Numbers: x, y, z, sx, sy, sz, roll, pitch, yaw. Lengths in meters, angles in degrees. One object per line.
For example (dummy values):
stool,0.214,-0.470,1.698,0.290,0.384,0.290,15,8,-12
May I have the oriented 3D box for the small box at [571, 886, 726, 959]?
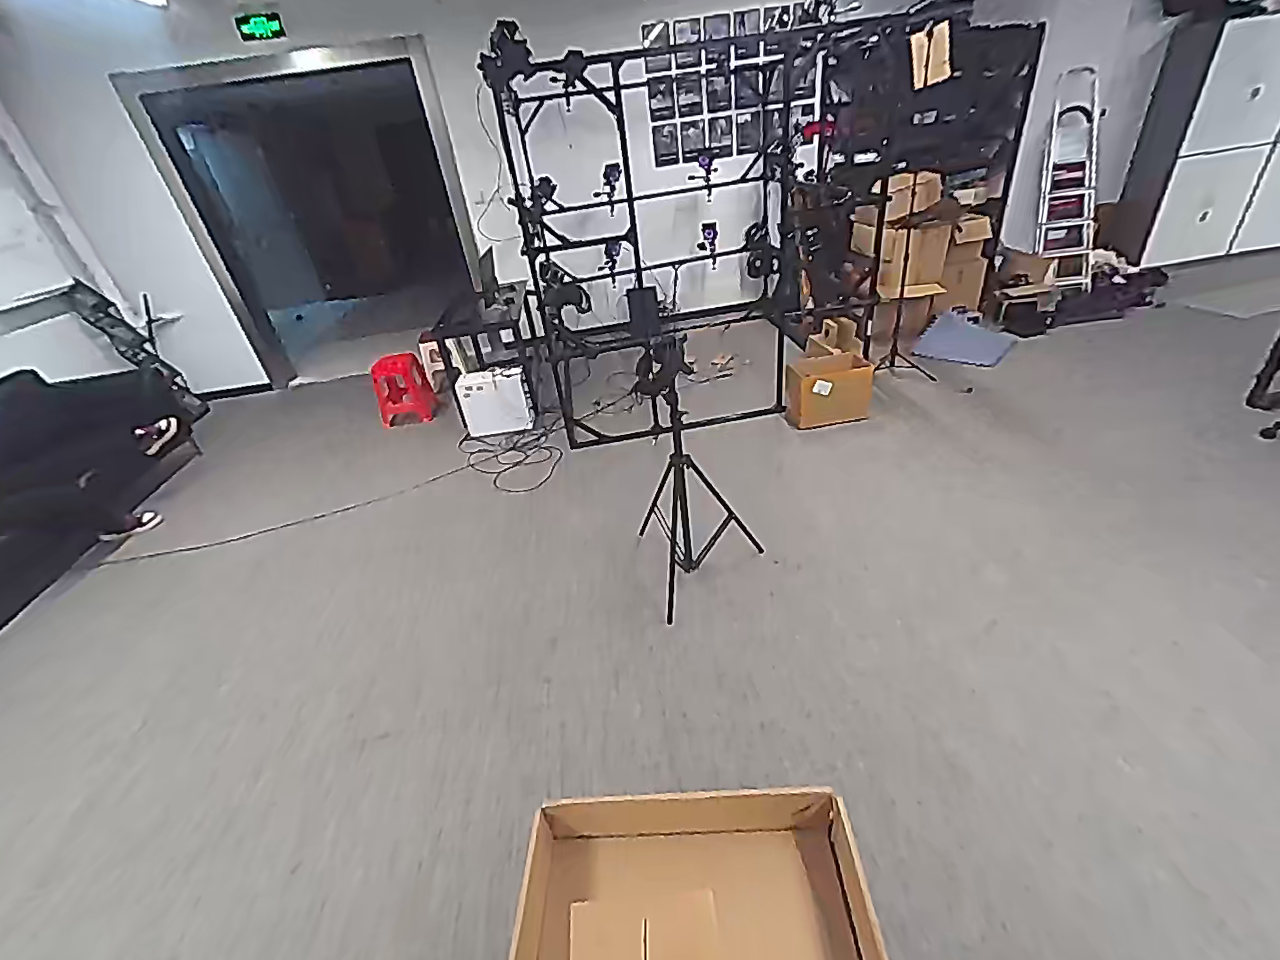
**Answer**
small box,0.016,0.579,0.594,0.168,0.176,0.179,-6,41,-2
